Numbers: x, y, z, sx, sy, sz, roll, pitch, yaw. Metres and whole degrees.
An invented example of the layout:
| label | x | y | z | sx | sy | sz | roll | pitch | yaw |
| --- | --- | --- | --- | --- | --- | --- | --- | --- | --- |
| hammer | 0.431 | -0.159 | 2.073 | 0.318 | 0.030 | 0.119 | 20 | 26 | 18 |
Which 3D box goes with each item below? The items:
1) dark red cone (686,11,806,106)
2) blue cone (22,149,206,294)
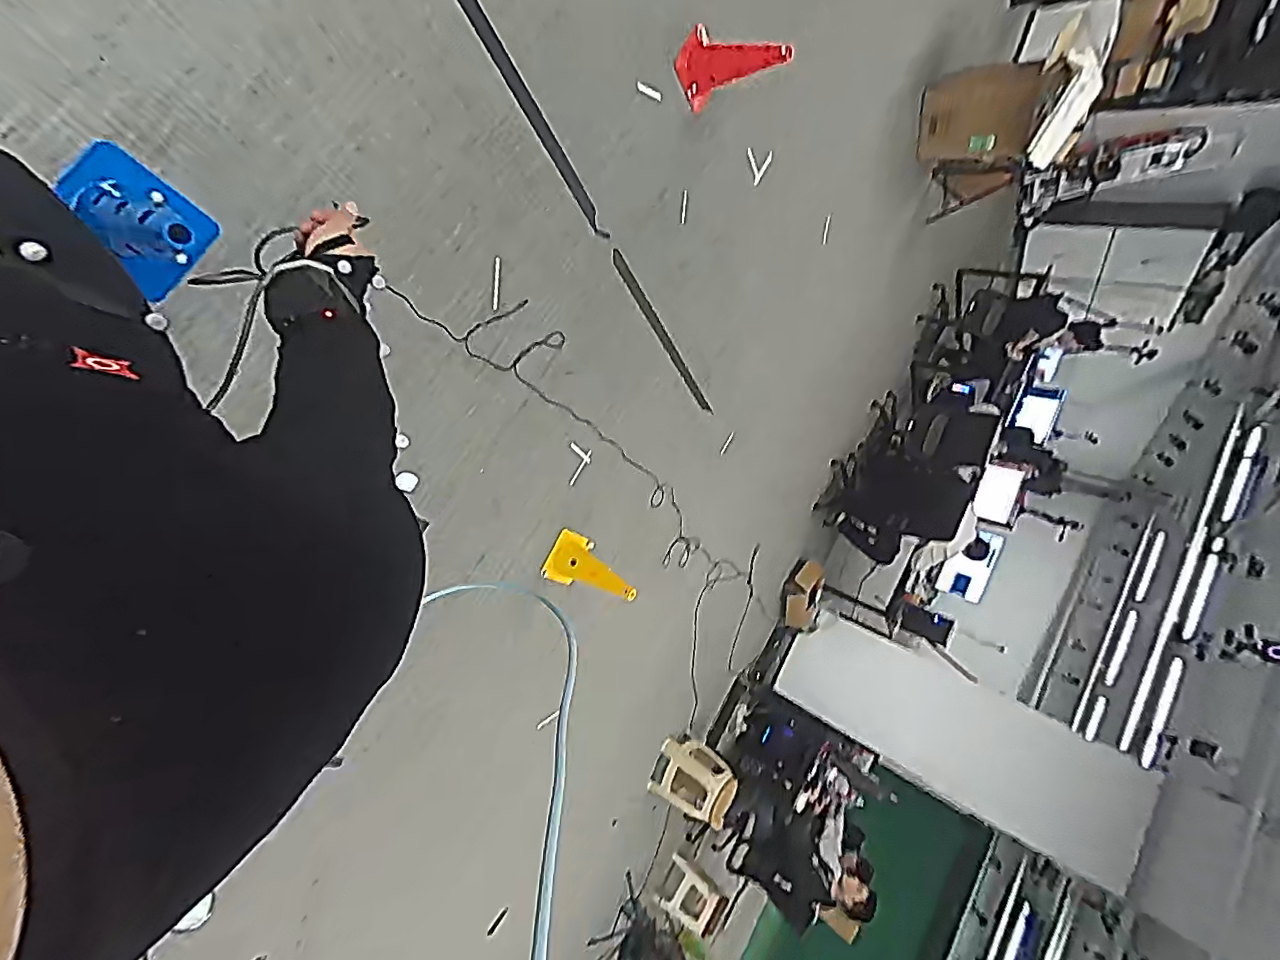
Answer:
| label | x | y | z | sx | sy | sz | roll | pitch | yaw |
| --- | --- | --- | --- | --- | --- | --- | --- | --- | --- |
| dark red cone | 0.352 | -1.388 | 1.757 | 0.202 | 0.394 | 0.201 | 34 | 82 | -54 |
| blue cone | -0.789 | -0.396 | 0.855 | 0.192 | 0.380 | 0.193 | -58 | 143 | -12 |
